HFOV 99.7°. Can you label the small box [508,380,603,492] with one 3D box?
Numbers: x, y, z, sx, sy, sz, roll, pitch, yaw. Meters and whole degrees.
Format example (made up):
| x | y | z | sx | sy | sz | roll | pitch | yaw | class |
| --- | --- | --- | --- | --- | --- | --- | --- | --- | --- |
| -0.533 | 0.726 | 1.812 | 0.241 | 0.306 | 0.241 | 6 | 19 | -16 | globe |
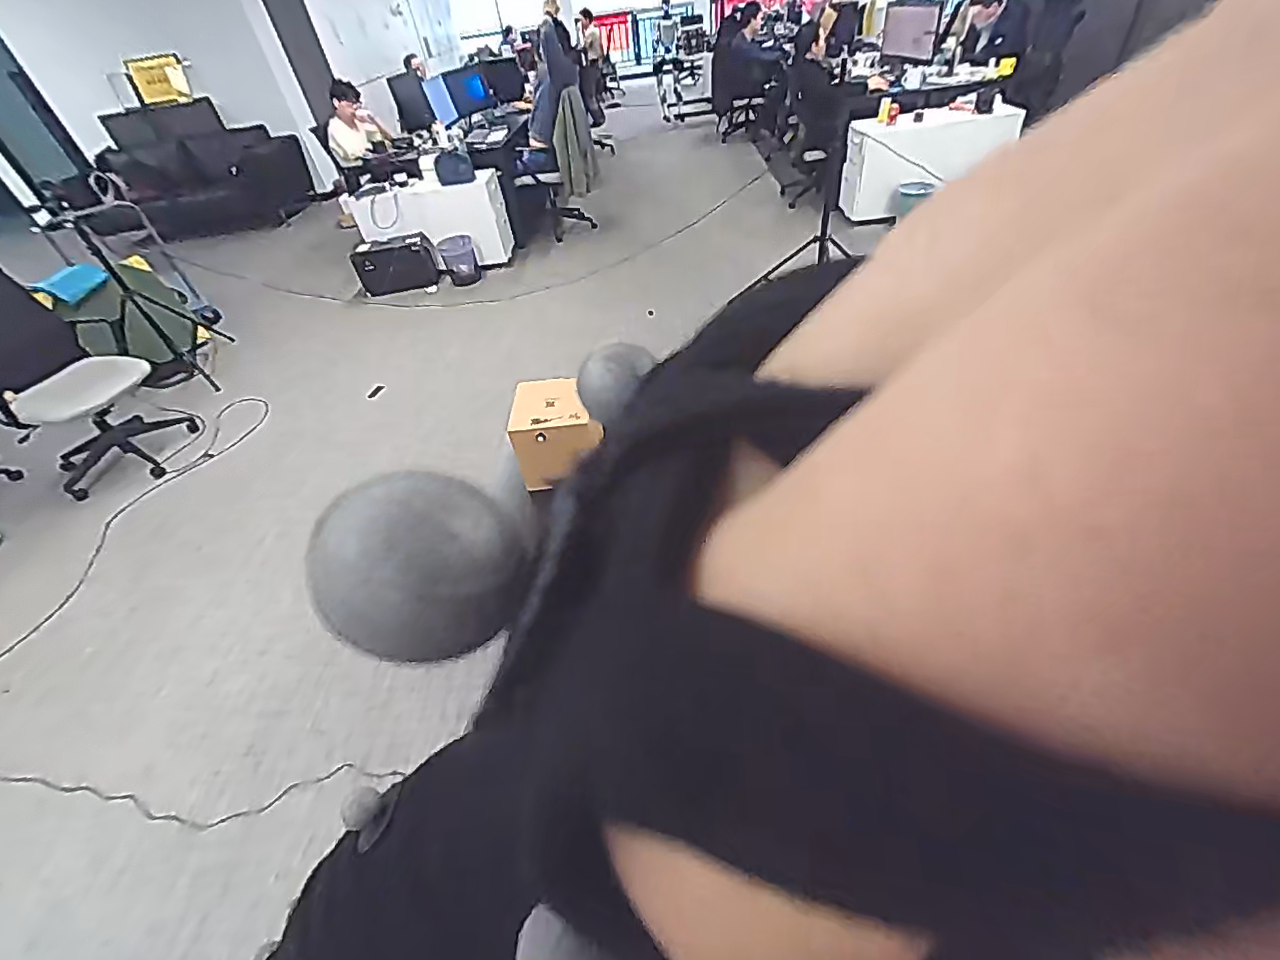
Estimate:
| x | y | z | sx | sy | sz | roll | pitch | yaw | class |
| --- | --- | --- | --- | --- | --- | --- | --- | --- | --- |
| -0.174 | -0.095 | 1.176 | 0.168 | 0.176 | 0.179 | -6 | 42 | 3 | small box |
